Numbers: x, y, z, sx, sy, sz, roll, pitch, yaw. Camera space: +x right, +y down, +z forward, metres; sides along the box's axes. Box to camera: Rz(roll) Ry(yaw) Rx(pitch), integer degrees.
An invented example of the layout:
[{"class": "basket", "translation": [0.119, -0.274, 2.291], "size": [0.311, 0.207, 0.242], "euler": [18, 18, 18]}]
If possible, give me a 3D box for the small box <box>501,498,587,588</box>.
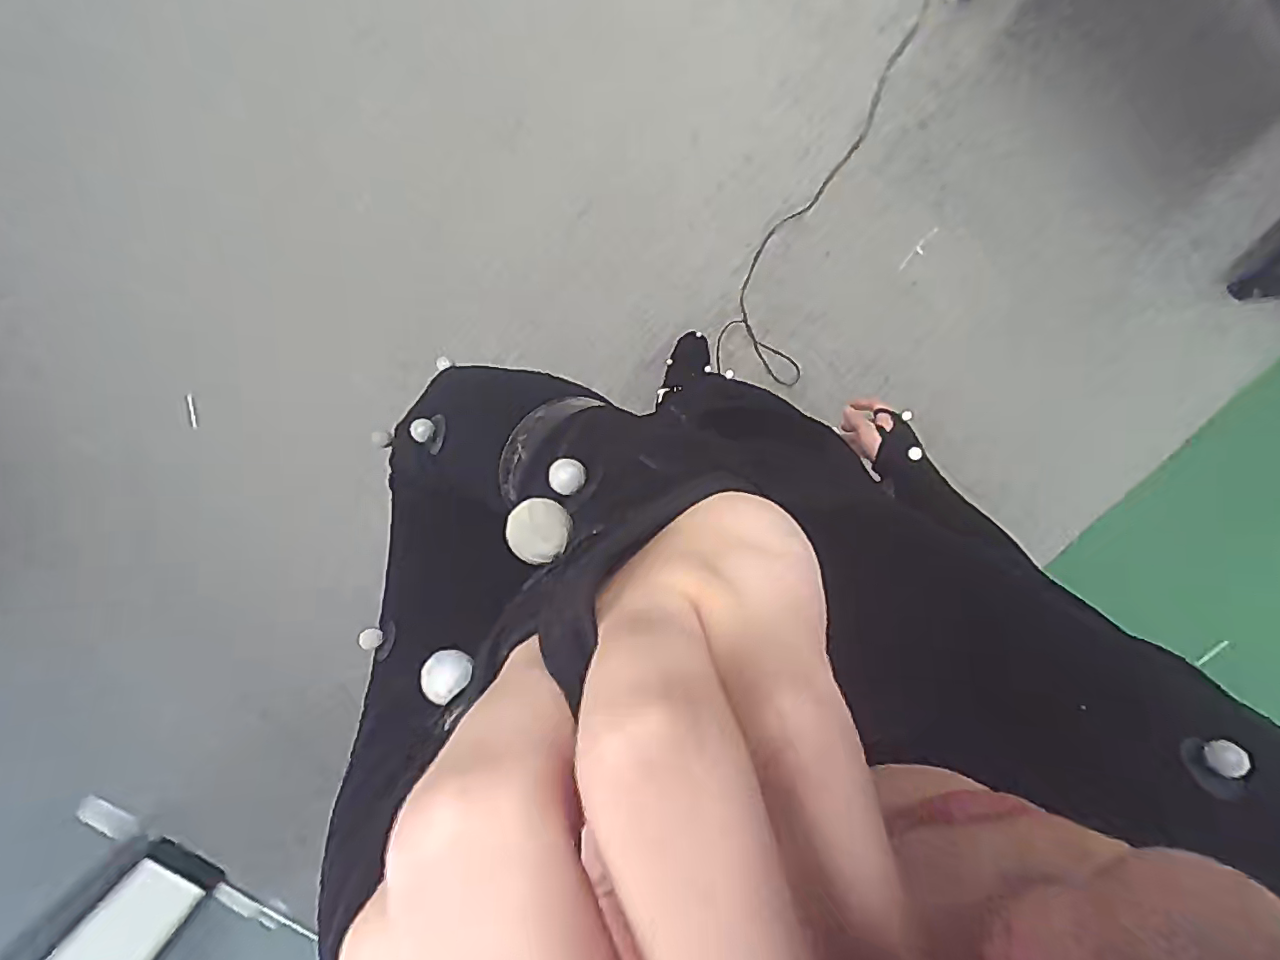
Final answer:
[{"class": "small box", "translation": [-0.275, 0.180, 1.598], "size": [0.179, 0.176, 0.168], "euler": [42, 102, -8]}]
